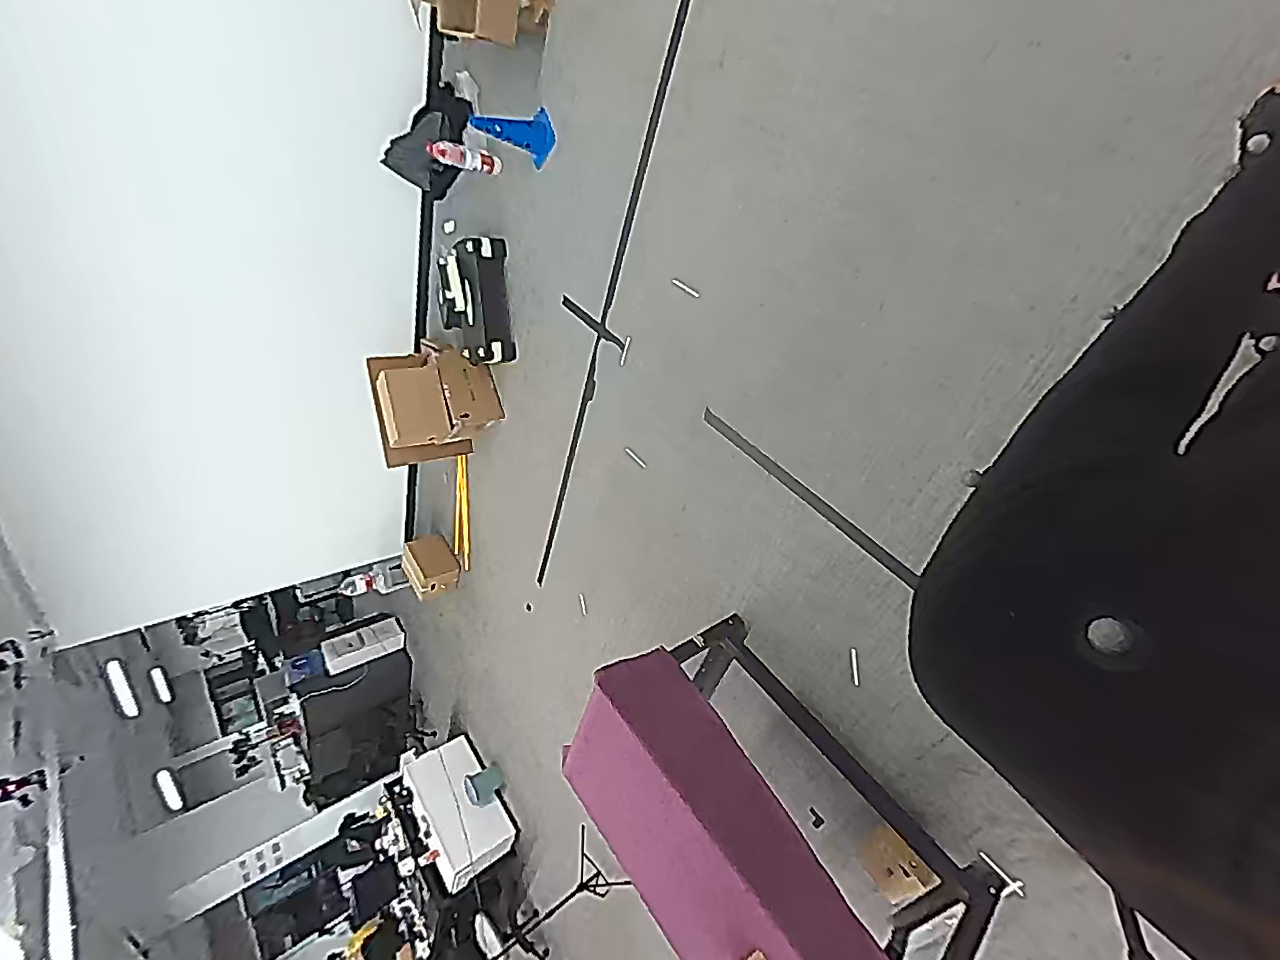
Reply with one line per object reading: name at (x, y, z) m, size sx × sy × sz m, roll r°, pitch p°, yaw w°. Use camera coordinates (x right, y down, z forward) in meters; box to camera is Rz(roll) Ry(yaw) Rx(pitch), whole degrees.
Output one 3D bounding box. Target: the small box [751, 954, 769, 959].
small box at (0.294, 1.392, 1.399) m, size 0.168 × 0.176 × 0.179 m, roll 44°, pitch 130°, yaw 32°
